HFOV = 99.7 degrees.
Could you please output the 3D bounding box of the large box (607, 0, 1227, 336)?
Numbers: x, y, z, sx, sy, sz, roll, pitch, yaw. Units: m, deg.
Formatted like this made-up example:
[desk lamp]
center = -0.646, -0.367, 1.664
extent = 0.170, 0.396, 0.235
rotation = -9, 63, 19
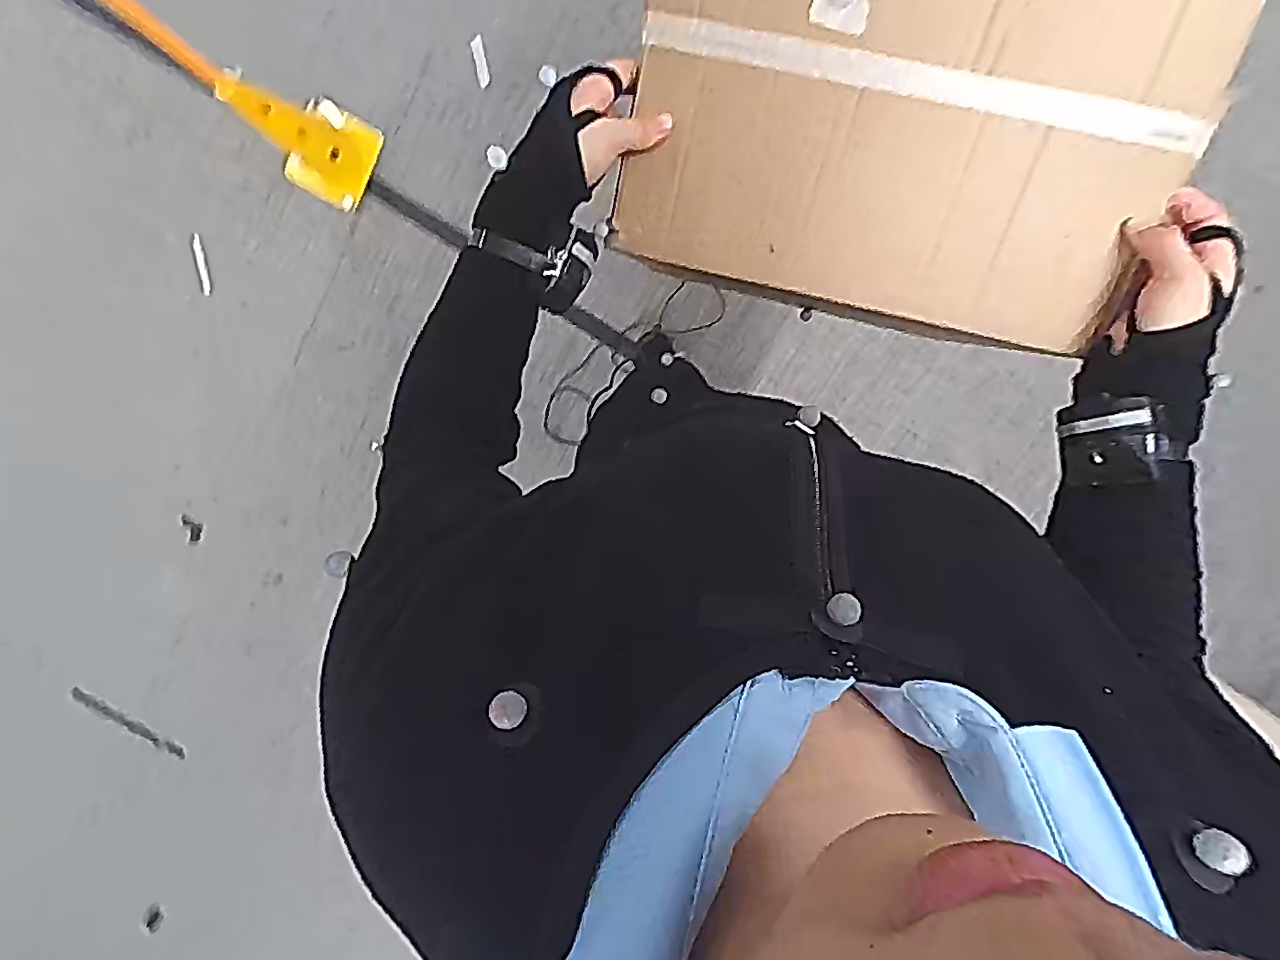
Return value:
[large box]
center = 0.214, -0.343, 0.546
extent = 0.408, 0.320, 0.320
rotation = 14, 108, 5
